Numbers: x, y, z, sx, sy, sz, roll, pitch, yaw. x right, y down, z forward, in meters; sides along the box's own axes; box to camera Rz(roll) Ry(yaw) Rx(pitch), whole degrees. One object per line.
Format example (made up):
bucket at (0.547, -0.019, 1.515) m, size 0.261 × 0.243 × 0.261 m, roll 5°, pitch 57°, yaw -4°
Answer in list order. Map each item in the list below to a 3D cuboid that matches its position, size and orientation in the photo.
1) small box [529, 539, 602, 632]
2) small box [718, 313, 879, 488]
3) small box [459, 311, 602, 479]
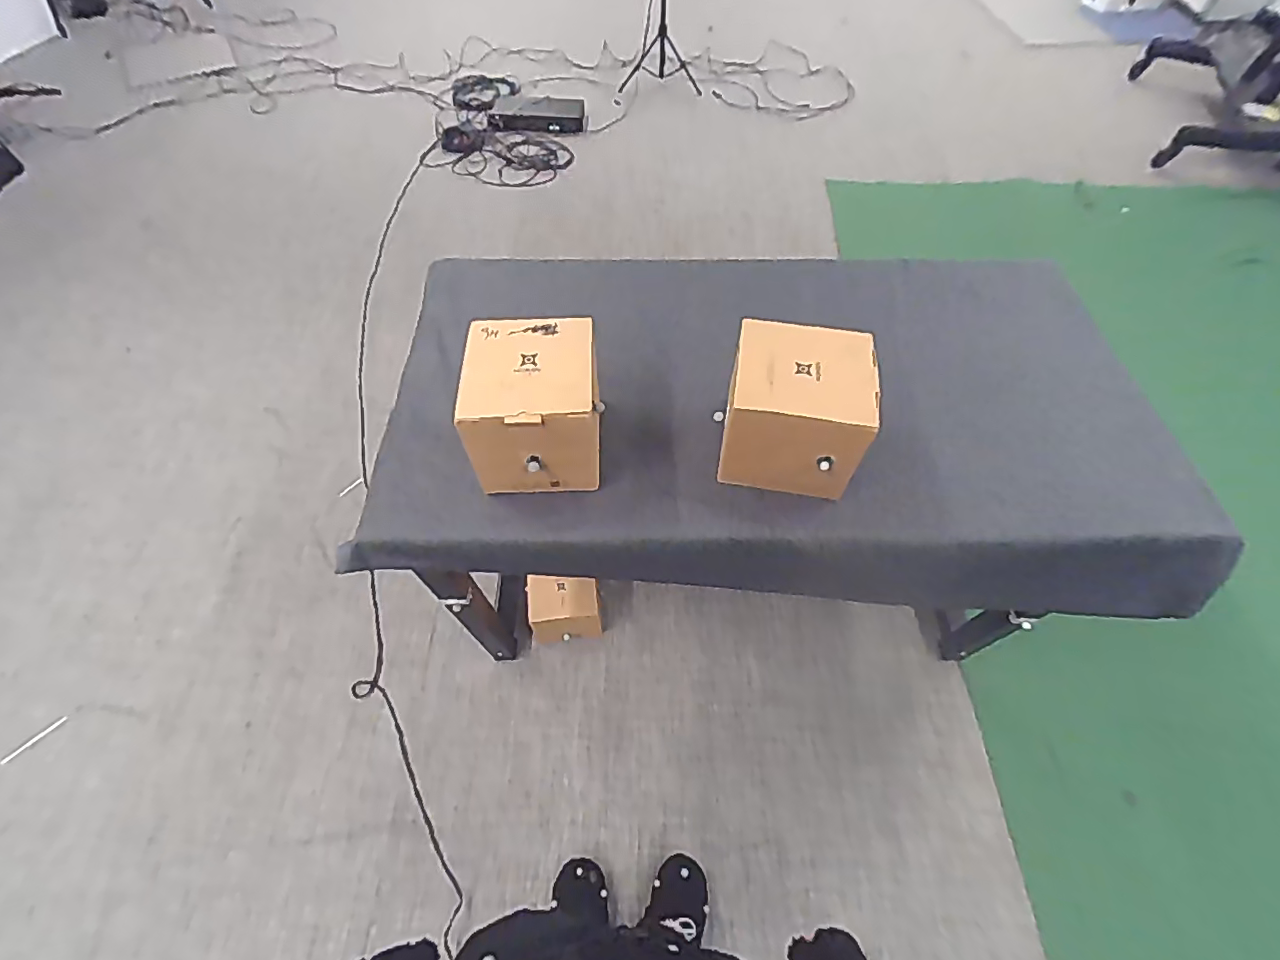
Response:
small box at (-0.188, 0.271, 1.378) m, size 0.168 × 0.176 × 0.179 m, roll -6°, pitch 59°, yaw -4°
small box at (0.213, -0.105, 0.758) m, size 0.179 × 0.176 × 0.168 m, roll 8°, pitch 57°, yaw 6°
small box at (-0.139, -0.111, 0.756) m, size 0.168 × 0.176 × 0.179 m, roll -2°, pitch 58°, yaw -2°
